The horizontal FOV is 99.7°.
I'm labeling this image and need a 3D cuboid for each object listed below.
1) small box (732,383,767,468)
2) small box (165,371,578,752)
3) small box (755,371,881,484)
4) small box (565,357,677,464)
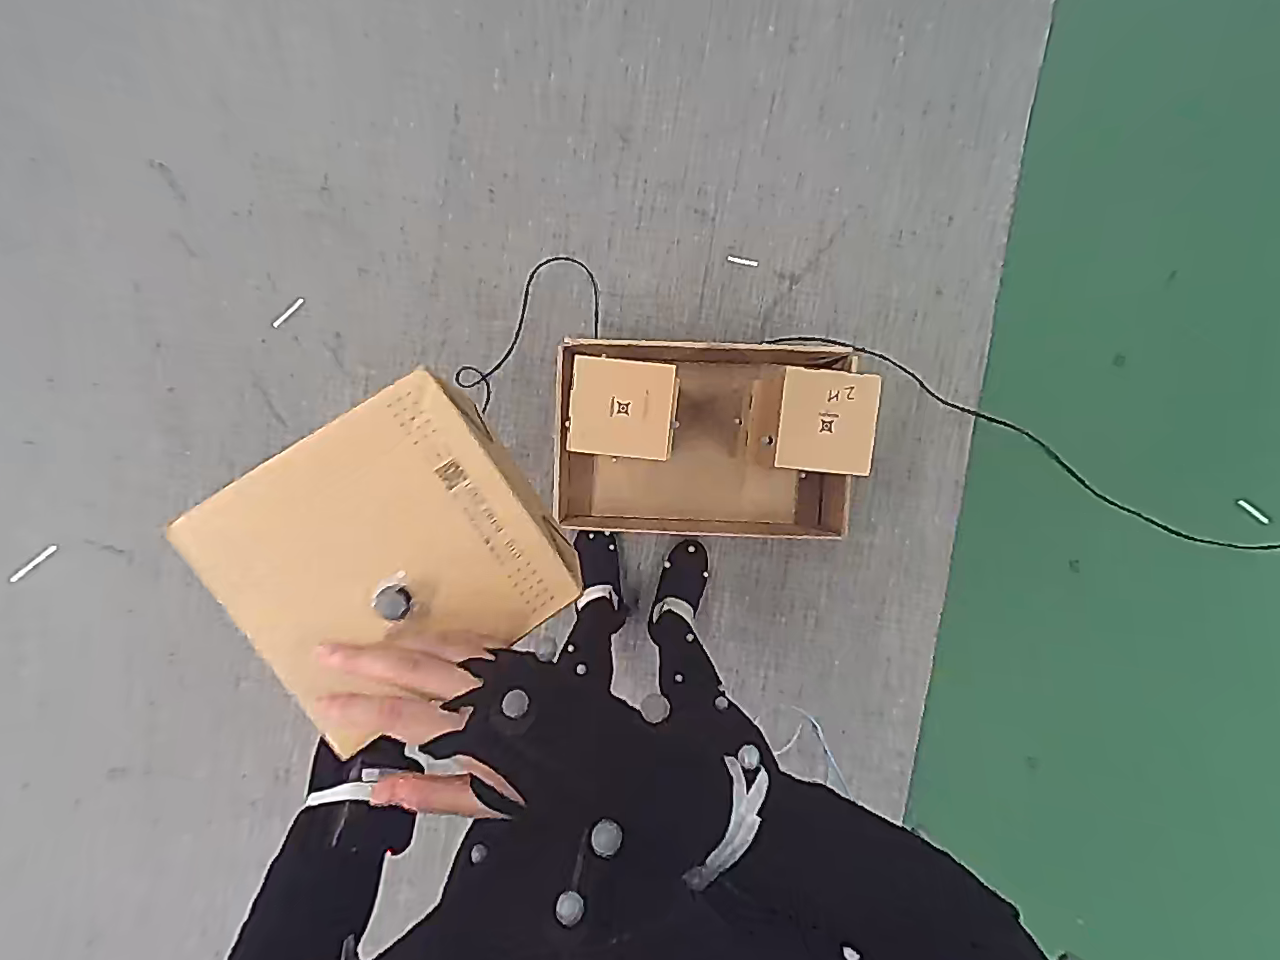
[{"bbox_3d":[0.302,-0.105,1.161,0.179,0.176,0.168,7,93,-1],"label":"small box"},{"bbox_3d":[-0.156,0.041,0.387,0.176,0.179,0.168,-33,95,-5],"label":"small box"},{"bbox_3d":[0.317,-0.093,0.997,0.168,0.176,0.179,7,92,-1],"label":"small box"},{"bbox_3d":[-0.032,-0.122,0.998,0.179,0.176,0.168,7,94,-1],"label":"small box"}]
